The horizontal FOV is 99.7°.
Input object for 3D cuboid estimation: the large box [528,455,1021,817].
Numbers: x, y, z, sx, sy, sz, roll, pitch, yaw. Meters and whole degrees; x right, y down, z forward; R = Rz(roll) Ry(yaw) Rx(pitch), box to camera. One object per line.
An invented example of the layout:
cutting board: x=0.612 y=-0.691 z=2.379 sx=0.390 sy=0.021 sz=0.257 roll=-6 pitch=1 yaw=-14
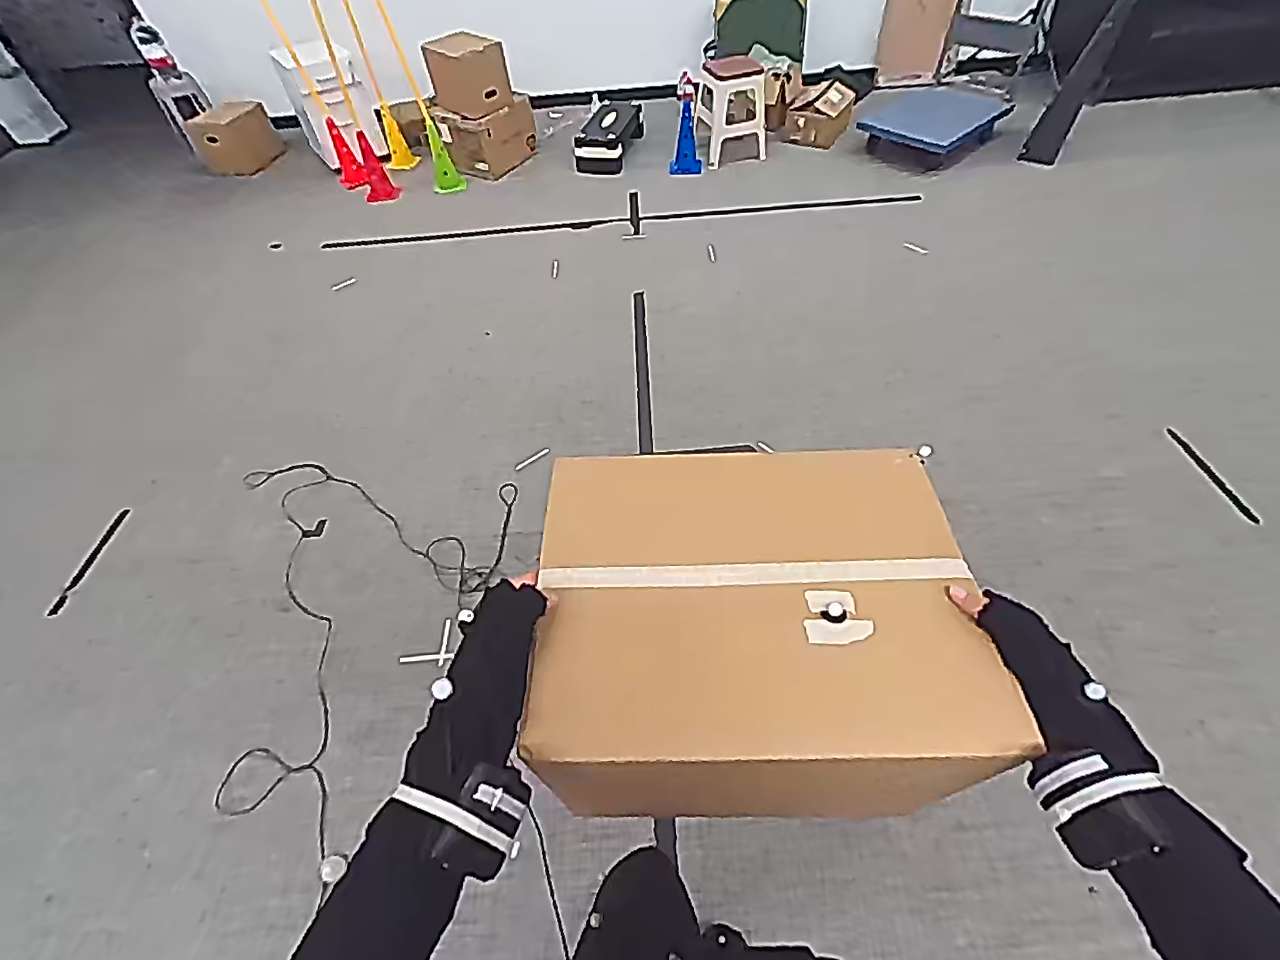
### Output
large box: x=0.108 y=0.191 z=0.638 sx=0.408 sy=0.320 sz=0.320 roll=-1 pitch=51 yaw=2
